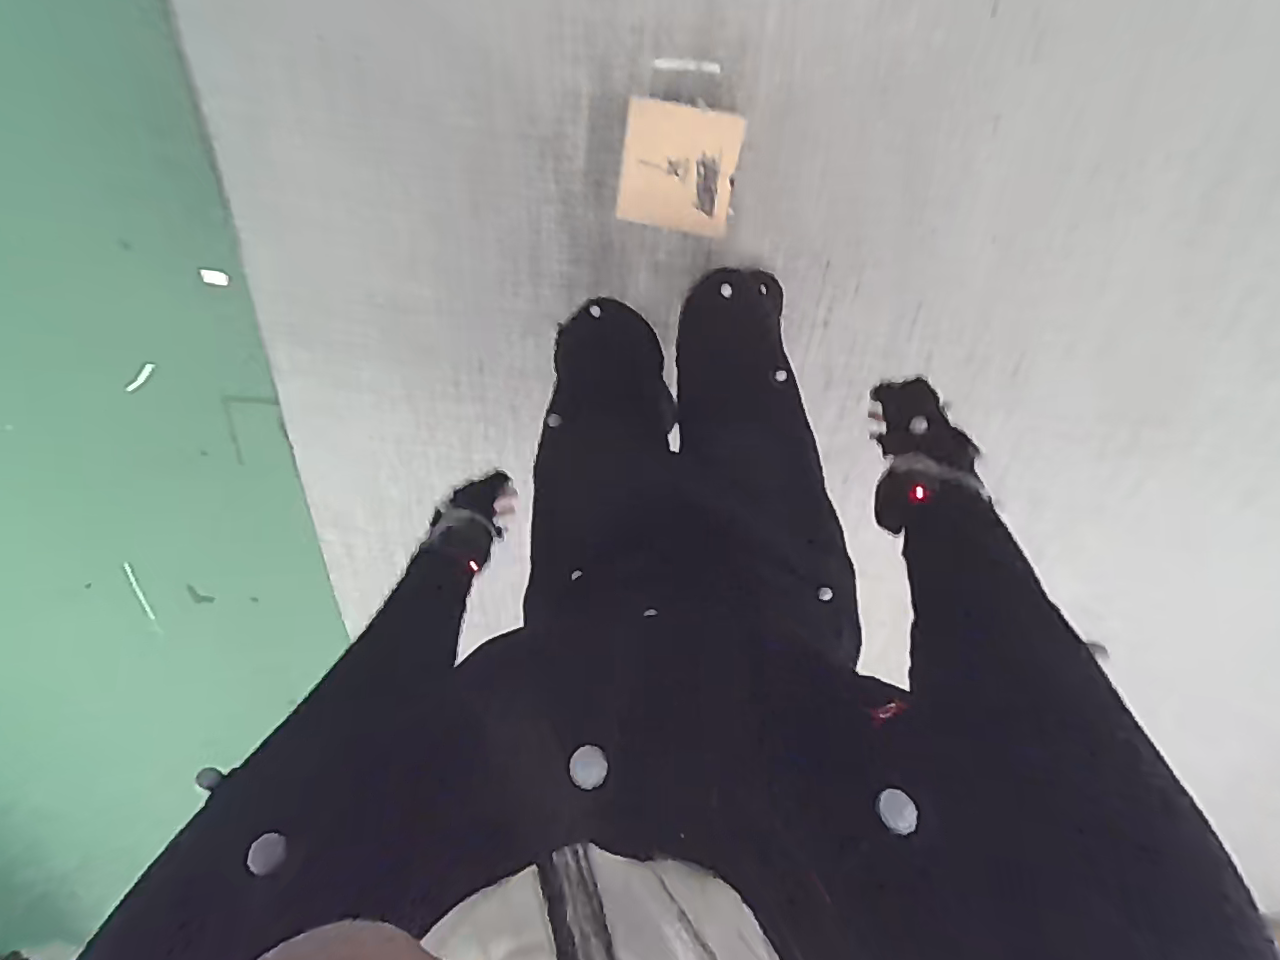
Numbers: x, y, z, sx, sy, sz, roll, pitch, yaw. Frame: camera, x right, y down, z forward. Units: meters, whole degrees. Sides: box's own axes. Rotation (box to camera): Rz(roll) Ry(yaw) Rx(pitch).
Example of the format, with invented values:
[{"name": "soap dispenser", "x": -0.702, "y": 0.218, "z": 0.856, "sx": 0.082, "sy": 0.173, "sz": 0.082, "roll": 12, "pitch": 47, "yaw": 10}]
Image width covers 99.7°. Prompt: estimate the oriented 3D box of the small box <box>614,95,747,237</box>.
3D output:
[{"name": "small box", "x": 0.067, "y": -0.515, "z": 0.891, "sx": 0.179, "sy": 0.176, "sz": 0.168, "roll": 13, "pitch": 121, "yaw": 2}]
